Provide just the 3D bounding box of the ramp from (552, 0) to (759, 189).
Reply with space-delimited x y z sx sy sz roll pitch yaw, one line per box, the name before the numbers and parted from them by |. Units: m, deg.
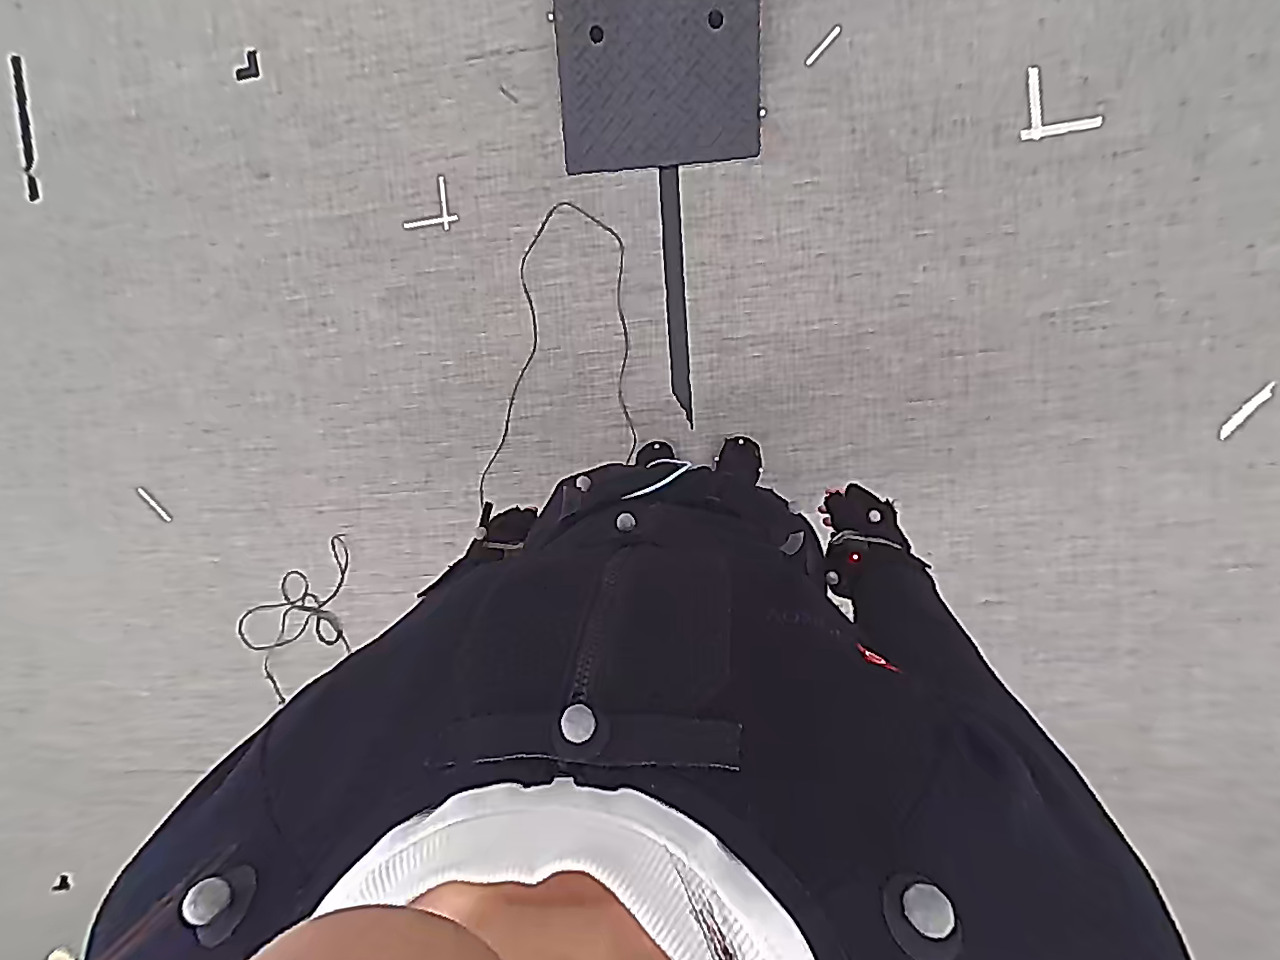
ramp | 0.023 -1.261 1.275 0.509 0.206 0.991 -5 94 7
